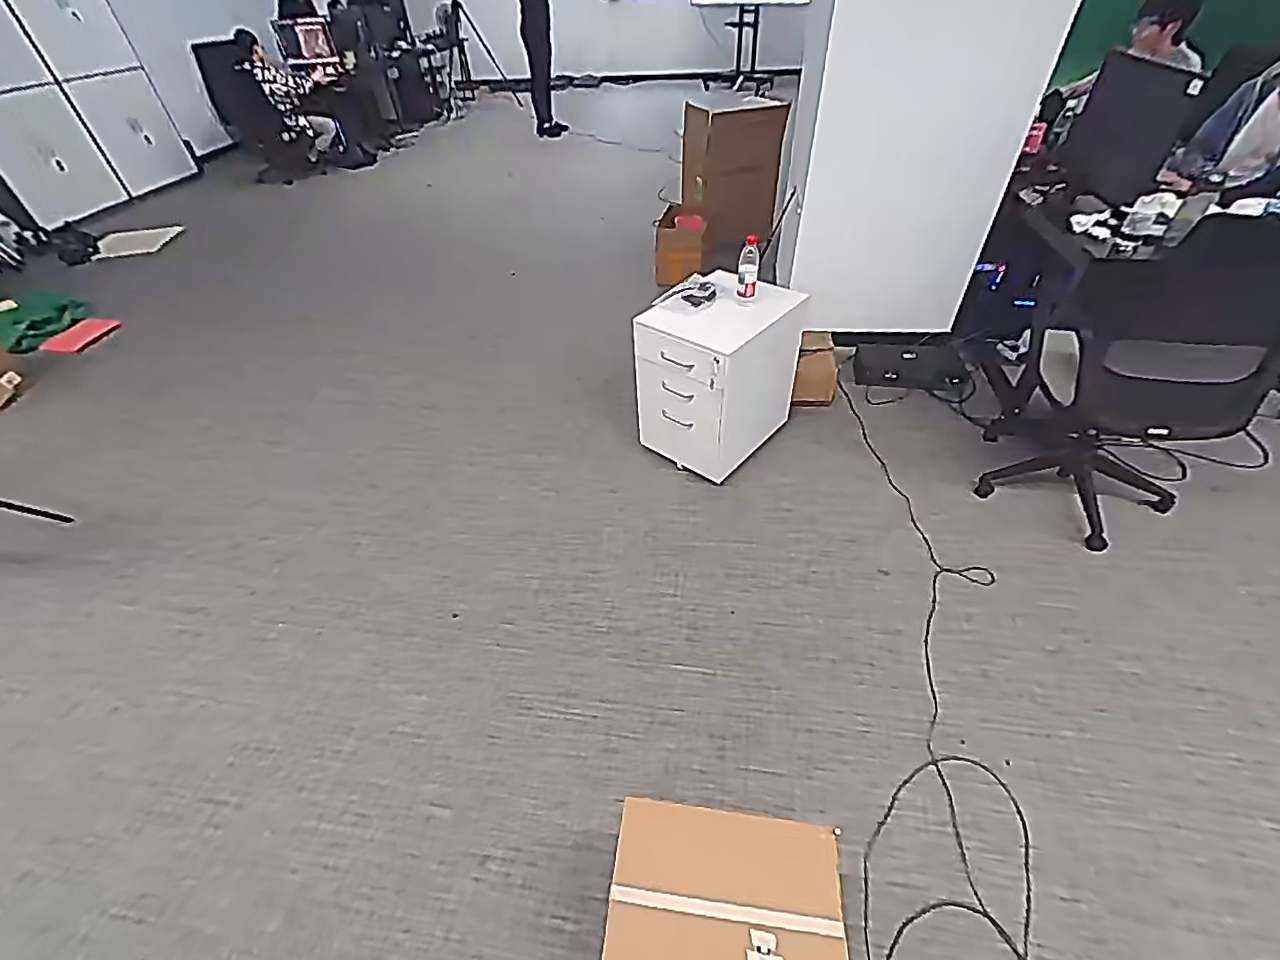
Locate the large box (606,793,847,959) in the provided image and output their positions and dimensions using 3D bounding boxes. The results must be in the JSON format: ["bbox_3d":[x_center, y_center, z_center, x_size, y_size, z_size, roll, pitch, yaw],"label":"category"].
[{"bbox_3d":[0.157,0.852,1.052,0.408,0.320,0.320,4,45,7],"label":"large box"}]
